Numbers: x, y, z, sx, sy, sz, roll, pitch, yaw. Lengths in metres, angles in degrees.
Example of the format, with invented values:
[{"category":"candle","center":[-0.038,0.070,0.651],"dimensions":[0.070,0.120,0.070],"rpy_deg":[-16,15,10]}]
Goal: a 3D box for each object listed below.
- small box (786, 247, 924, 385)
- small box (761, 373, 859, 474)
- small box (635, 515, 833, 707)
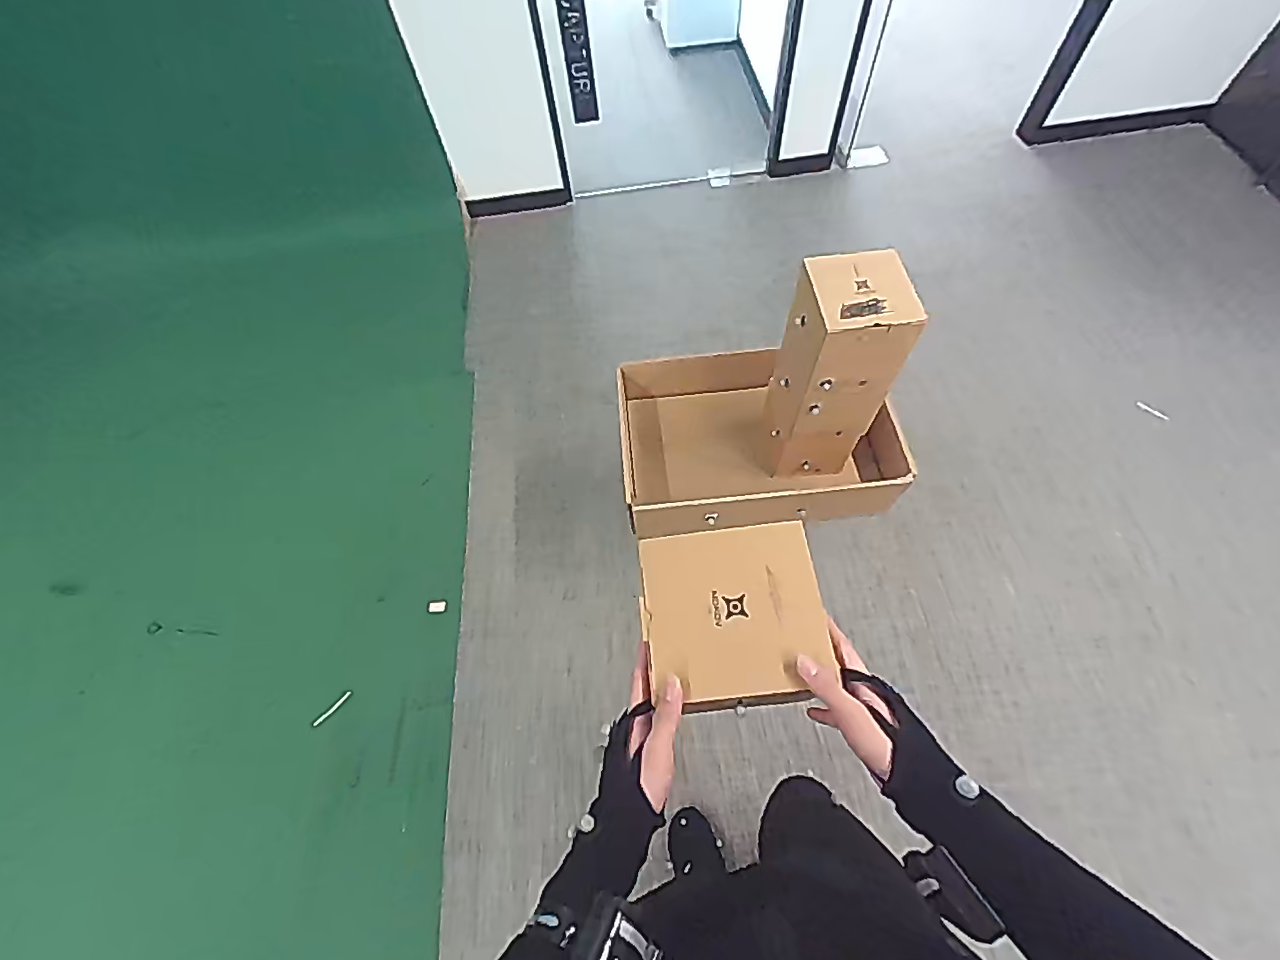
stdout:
[{"category":"small box","center":[0.373,-0.285,0.972],"dimensions":[0.168,0.176,0.179],"rpy_deg":[-5,61,0]},{"category":"small box","center":[0.386,-0.132,1.262],"dimensions":[0.168,0.176,0.179],"rpy_deg":[-4,62,1]},{"category":"small box","center":[0.095,0.154,0.604],"dimensions":[0.179,0.176,0.168],"rpy_deg":[-7,64,3]}]
